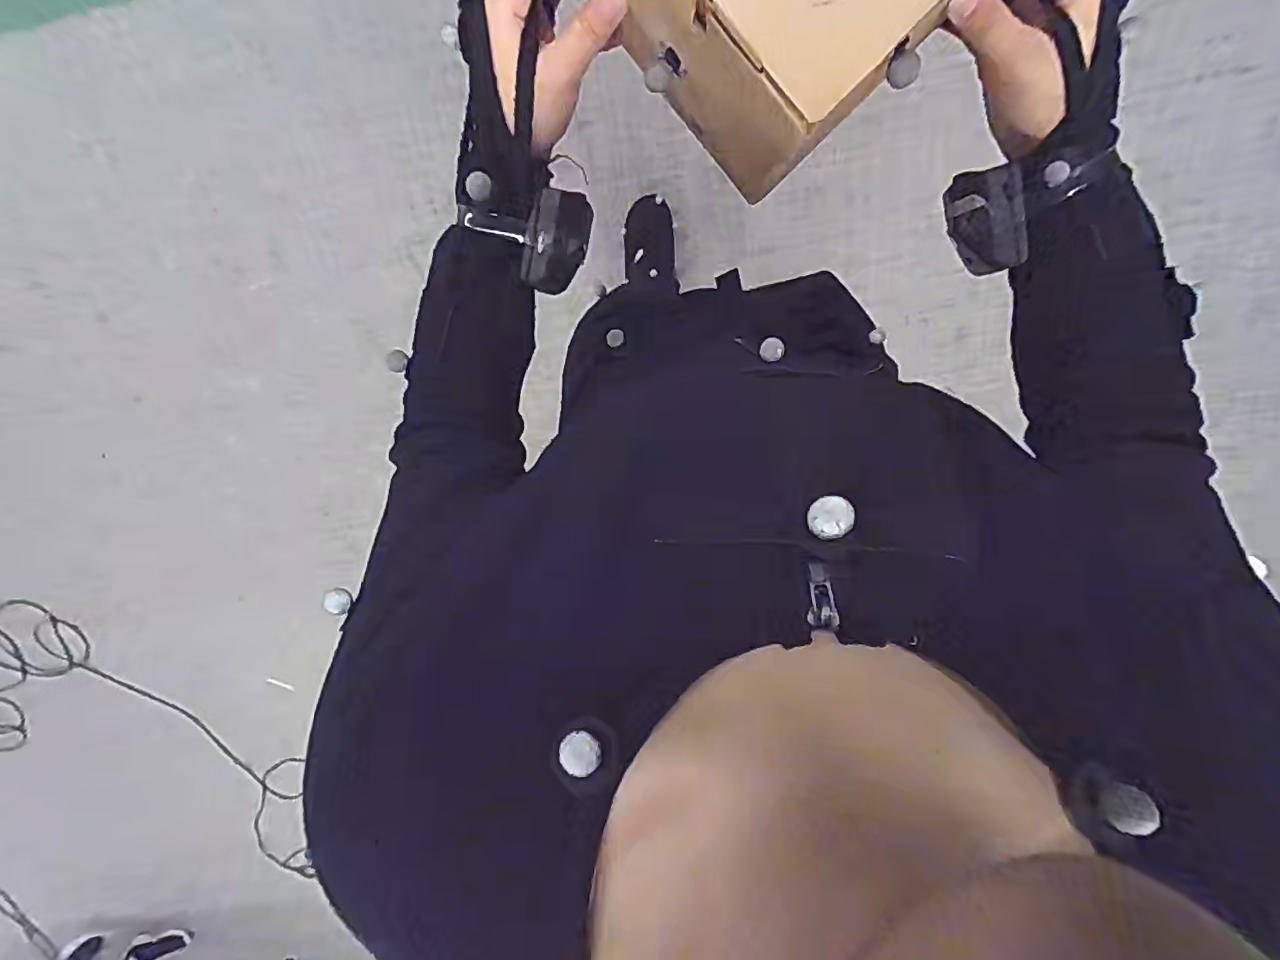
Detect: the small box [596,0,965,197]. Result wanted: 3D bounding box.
[{"bbox_3d":[0.076,-0.275,0.265,0.179,0.176,0.168,-41,100,15],"label":"small box"}]
